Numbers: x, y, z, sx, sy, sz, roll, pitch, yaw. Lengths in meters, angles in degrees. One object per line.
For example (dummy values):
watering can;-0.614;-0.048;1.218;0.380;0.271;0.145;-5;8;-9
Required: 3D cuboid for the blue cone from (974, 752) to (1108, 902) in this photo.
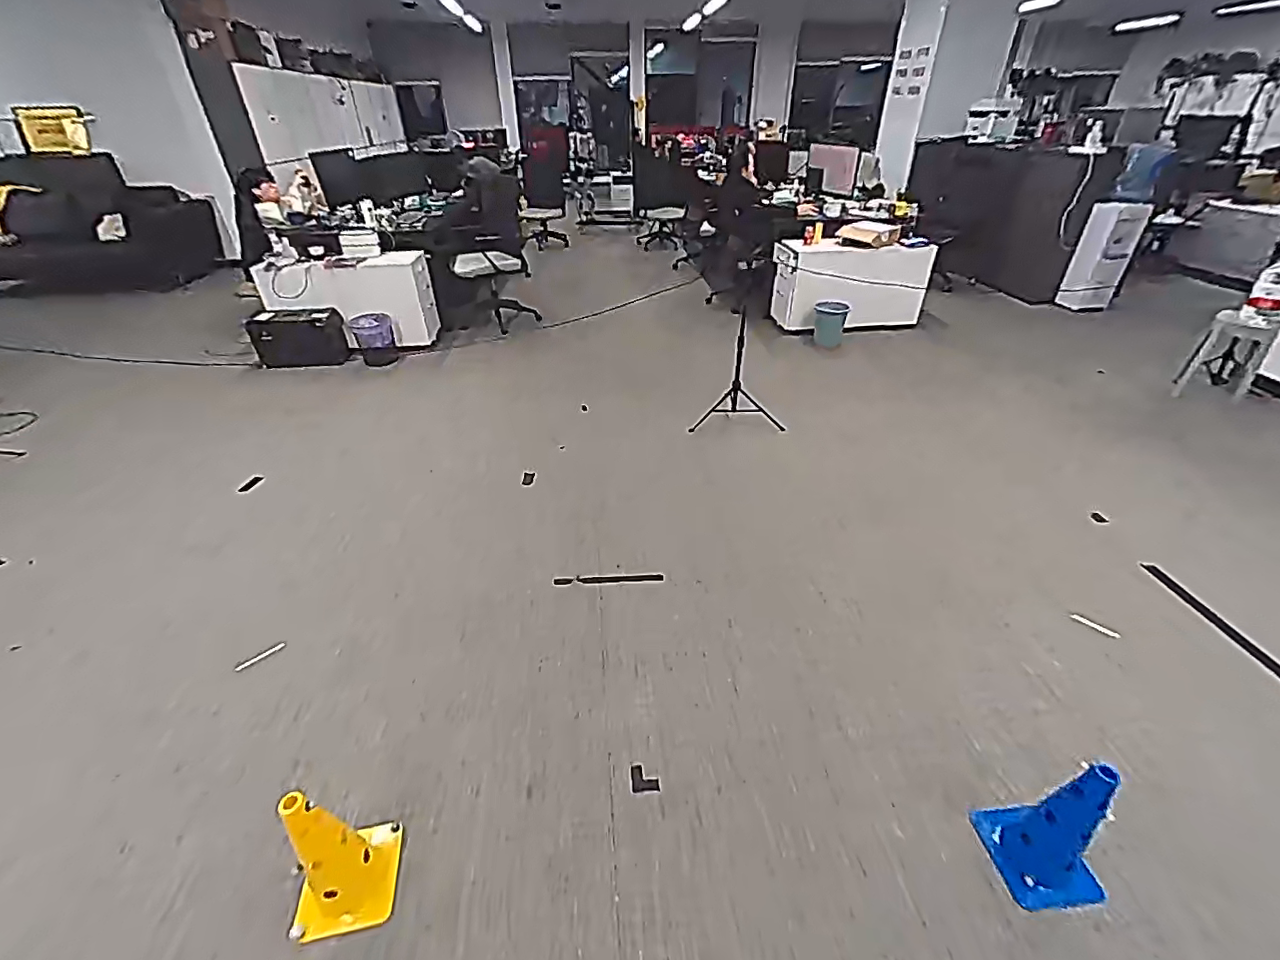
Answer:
blue cone;0.891;0.705;1.140;0.193;0.380;0.192;-3;33;-3
